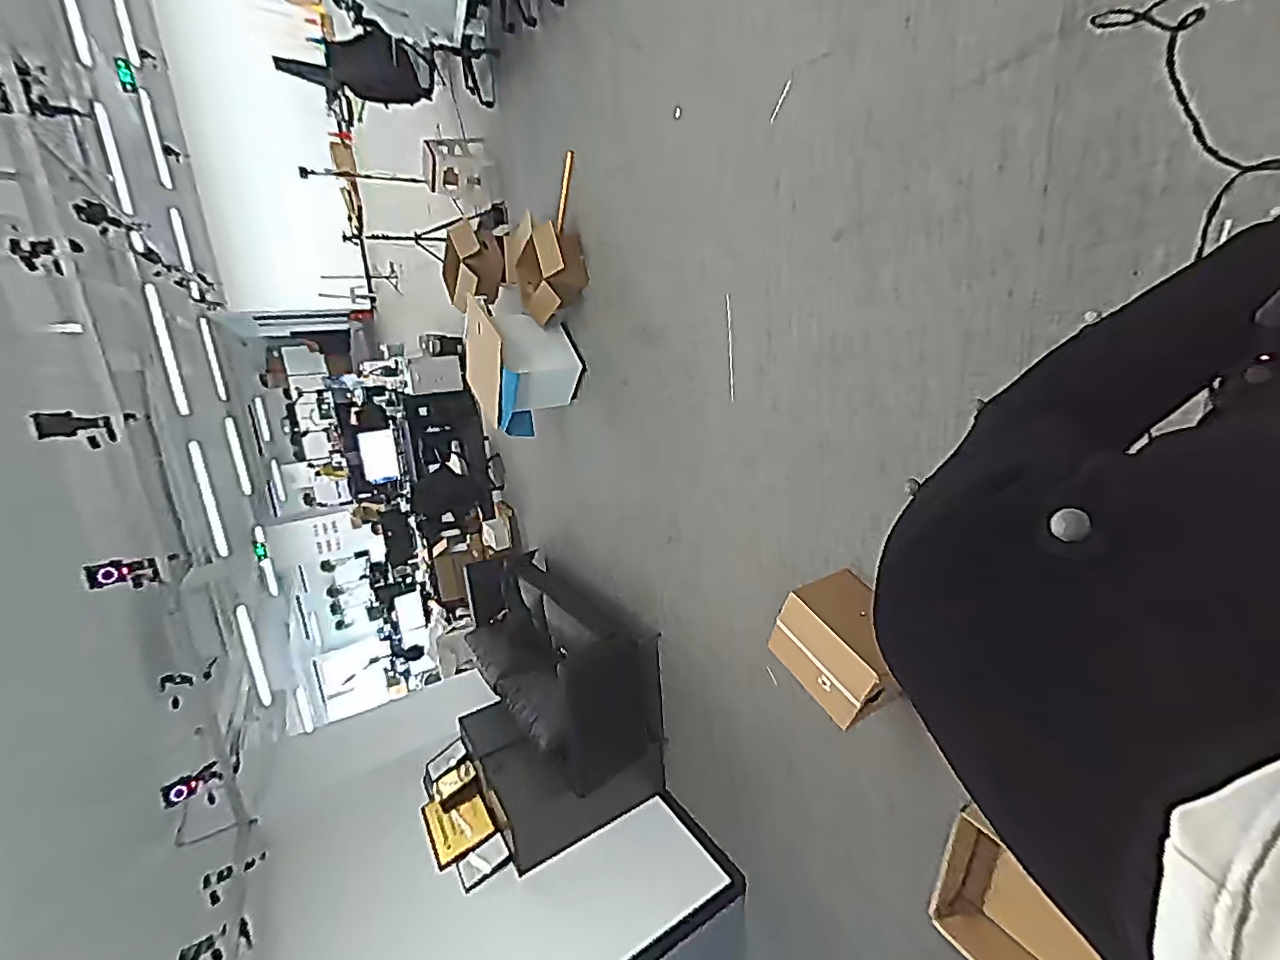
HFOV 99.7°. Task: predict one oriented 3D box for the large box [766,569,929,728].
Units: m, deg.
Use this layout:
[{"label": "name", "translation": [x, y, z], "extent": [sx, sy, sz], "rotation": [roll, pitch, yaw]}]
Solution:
[{"label": "large box", "translation": [0.743, 0.597, 1.981], "extent": [0.408, 0.320, 0.320], "rotation": [45, 137, 40]}]
